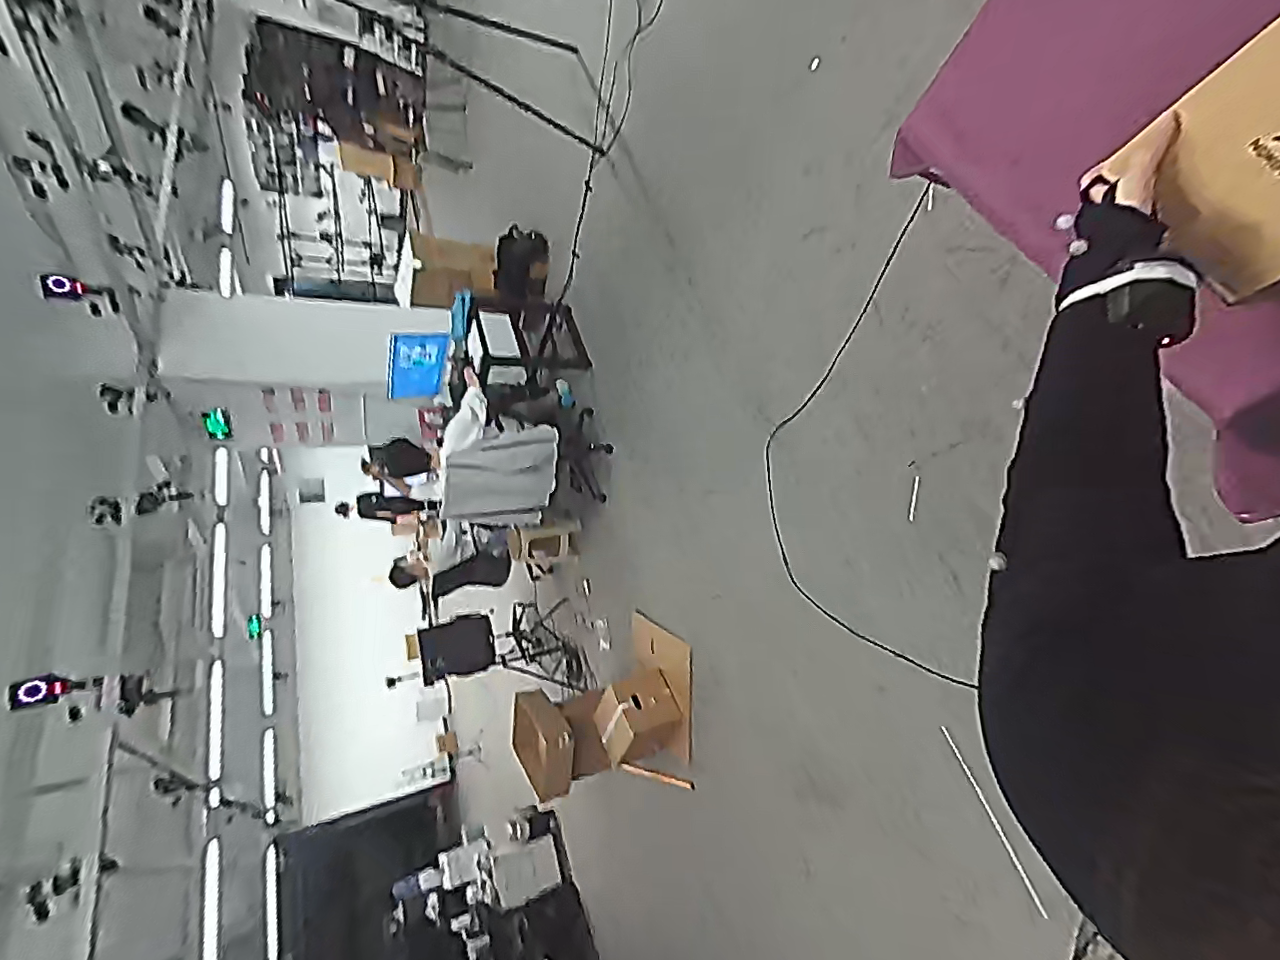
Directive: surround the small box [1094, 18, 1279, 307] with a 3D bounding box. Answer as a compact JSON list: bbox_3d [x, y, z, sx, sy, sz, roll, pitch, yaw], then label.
[{"bbox_3d":[0.551,-0.269,0.456,0.179,0.176,0.168,-45,67,51],"label":"small box"}]
